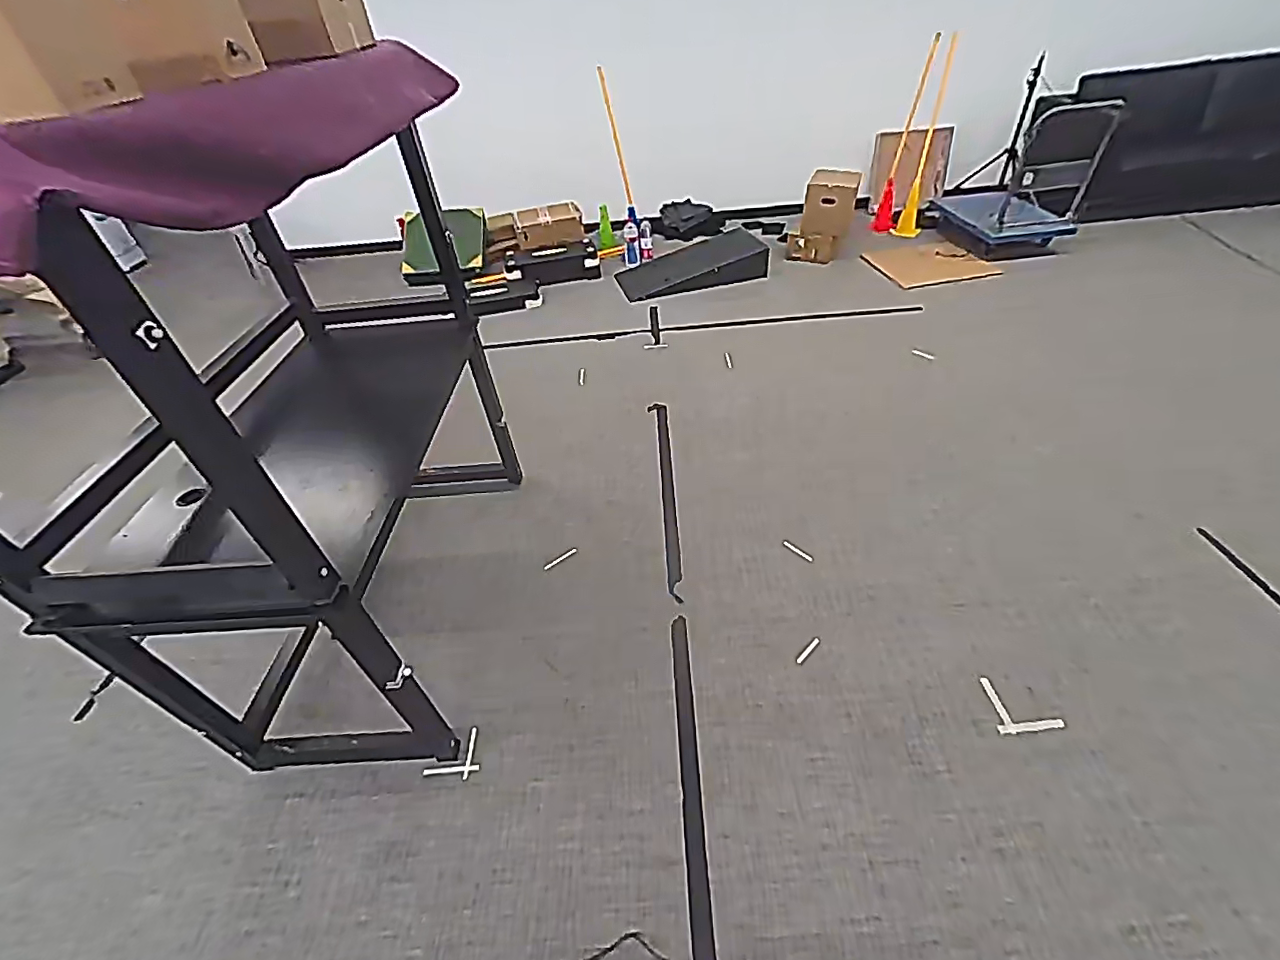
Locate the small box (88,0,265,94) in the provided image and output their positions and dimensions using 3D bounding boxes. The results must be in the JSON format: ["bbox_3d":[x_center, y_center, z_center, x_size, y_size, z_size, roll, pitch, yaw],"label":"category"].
[{"bbox_3d":[-0.767,-0.743,0.876,0.179,0.176,0.168,-7,43,-1],"label":"small box"}]

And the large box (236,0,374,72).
[{"bbox_3d":[-0.849,-1.054,1.130,0.408,0.320,0.320,-8,42,1],"label":"large box"}]

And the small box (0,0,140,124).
[{"bbox_3d":[-0.752,-0.513,0.617,0.179,0.176,0.168,-10,42,-3],"label":"small box"}]
